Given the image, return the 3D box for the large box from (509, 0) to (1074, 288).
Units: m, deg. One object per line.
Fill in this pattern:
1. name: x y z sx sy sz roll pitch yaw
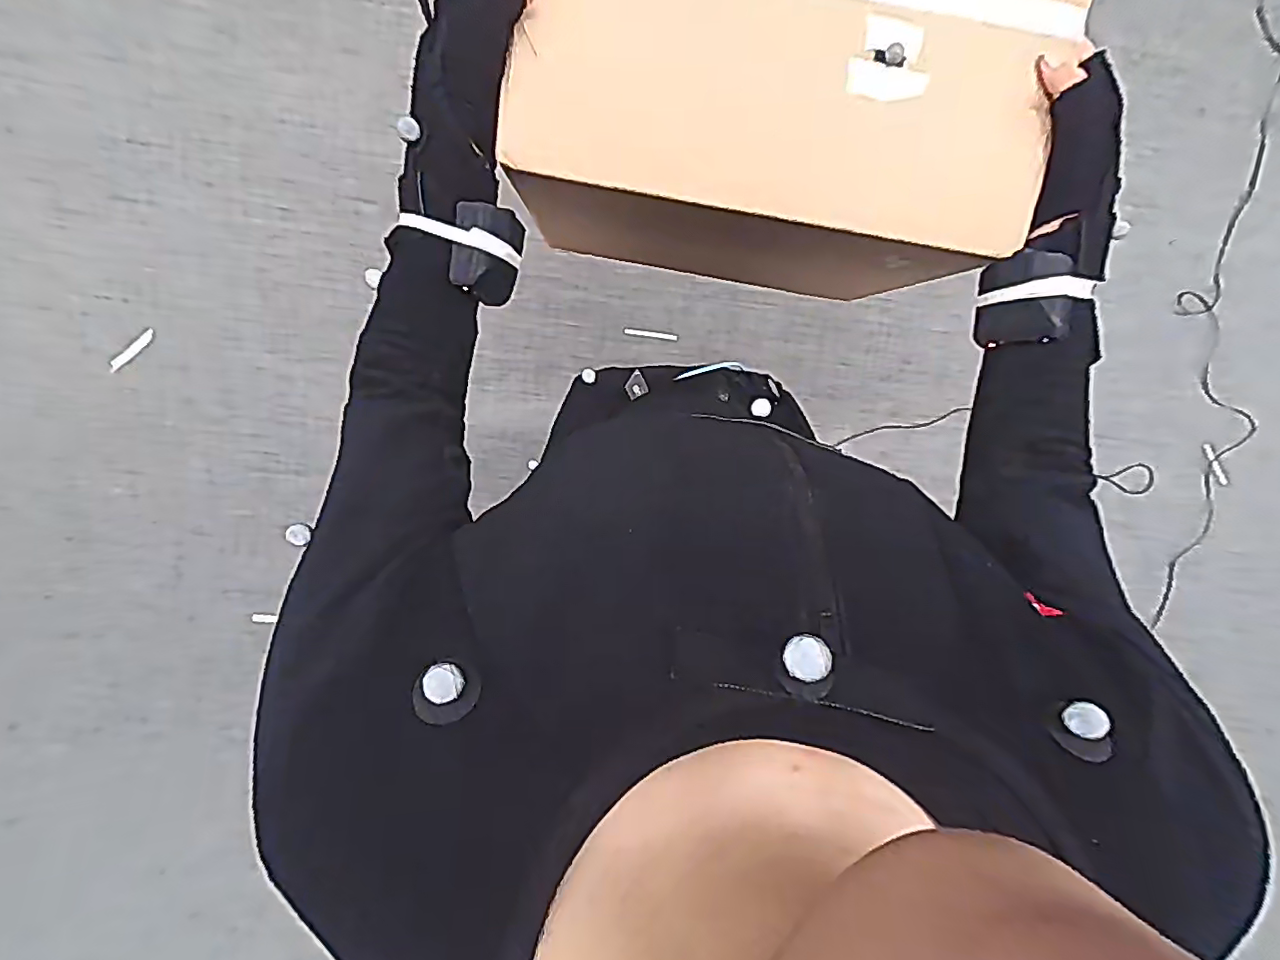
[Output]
1. large box: 0.108 -0.392 0.527 0.408 0.320 0.320 8 104 -5
